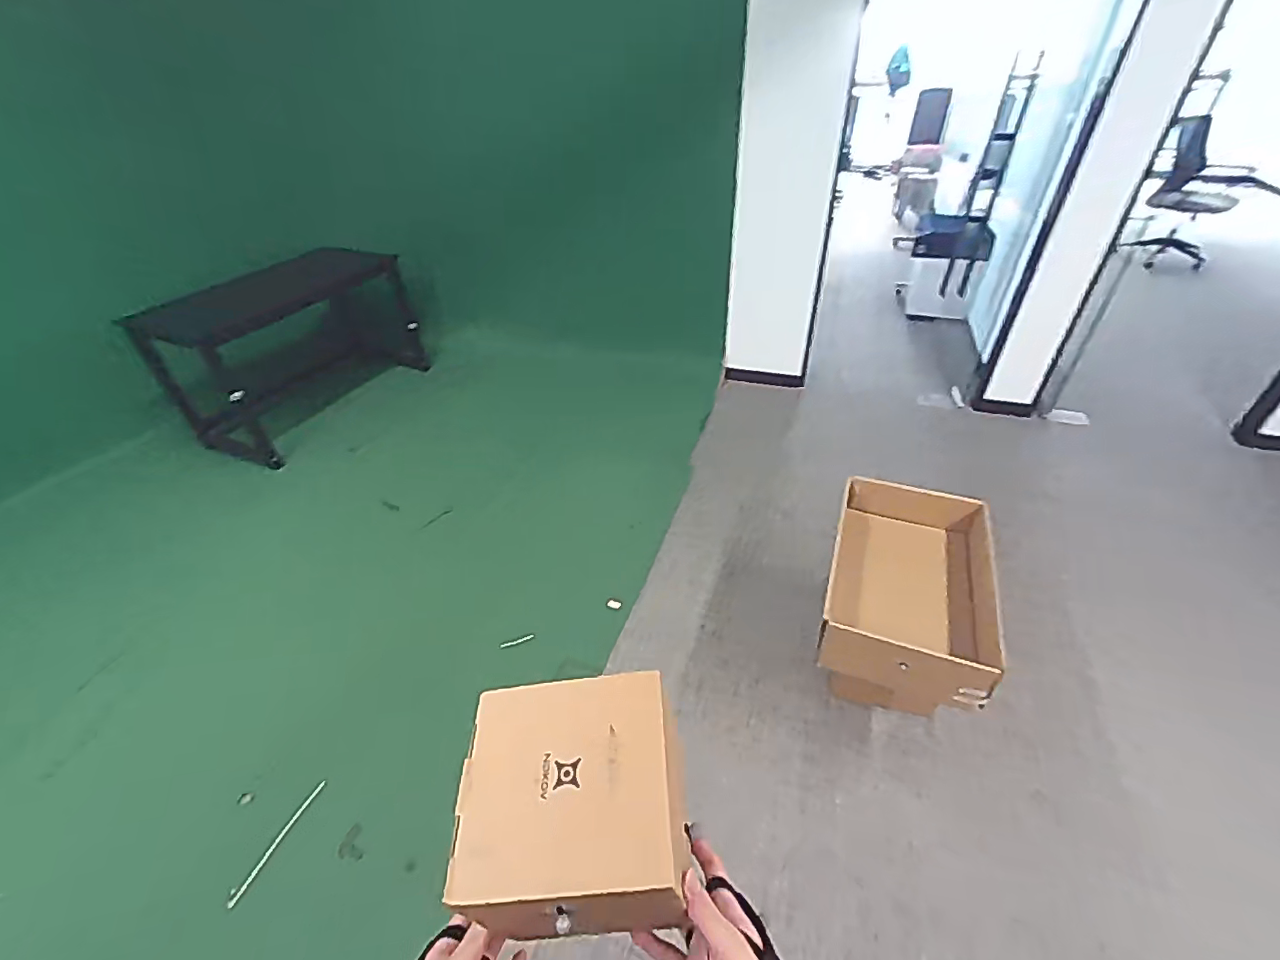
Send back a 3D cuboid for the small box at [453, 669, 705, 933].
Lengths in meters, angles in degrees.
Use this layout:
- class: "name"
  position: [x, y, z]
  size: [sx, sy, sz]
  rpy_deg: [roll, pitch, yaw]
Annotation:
- class: "small box"
  position: [-0.041, 0.298, 0.500]
  size: [0.179, 0.176, 0.168]
  rpy_deg: [-8, 43, 6]
